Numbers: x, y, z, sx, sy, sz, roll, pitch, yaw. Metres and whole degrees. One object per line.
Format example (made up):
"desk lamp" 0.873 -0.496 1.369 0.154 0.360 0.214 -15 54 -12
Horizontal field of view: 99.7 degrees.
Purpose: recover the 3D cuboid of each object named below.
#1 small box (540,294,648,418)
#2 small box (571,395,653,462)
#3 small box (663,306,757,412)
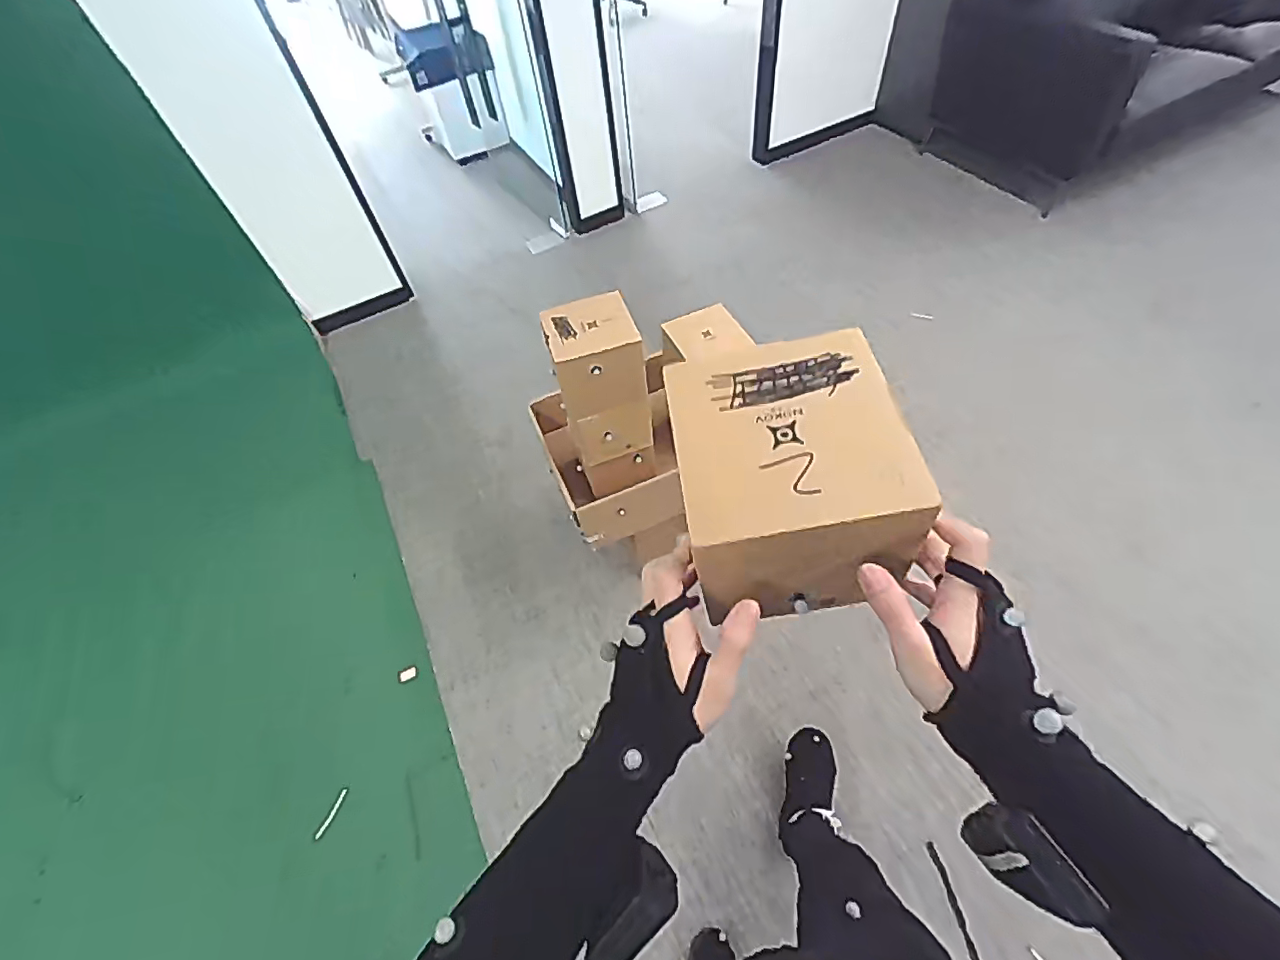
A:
"small box" -0.092 -0.253 1.127 0.179 0.176 0.168 -17 55 -7
"small box" -0.076 -0.163 1.264 0.168 0.176 0.179 -20 55 -8
"small box" 0.168 -0.287 1.320 0.168 0.176 0.179 -22 56 -9
